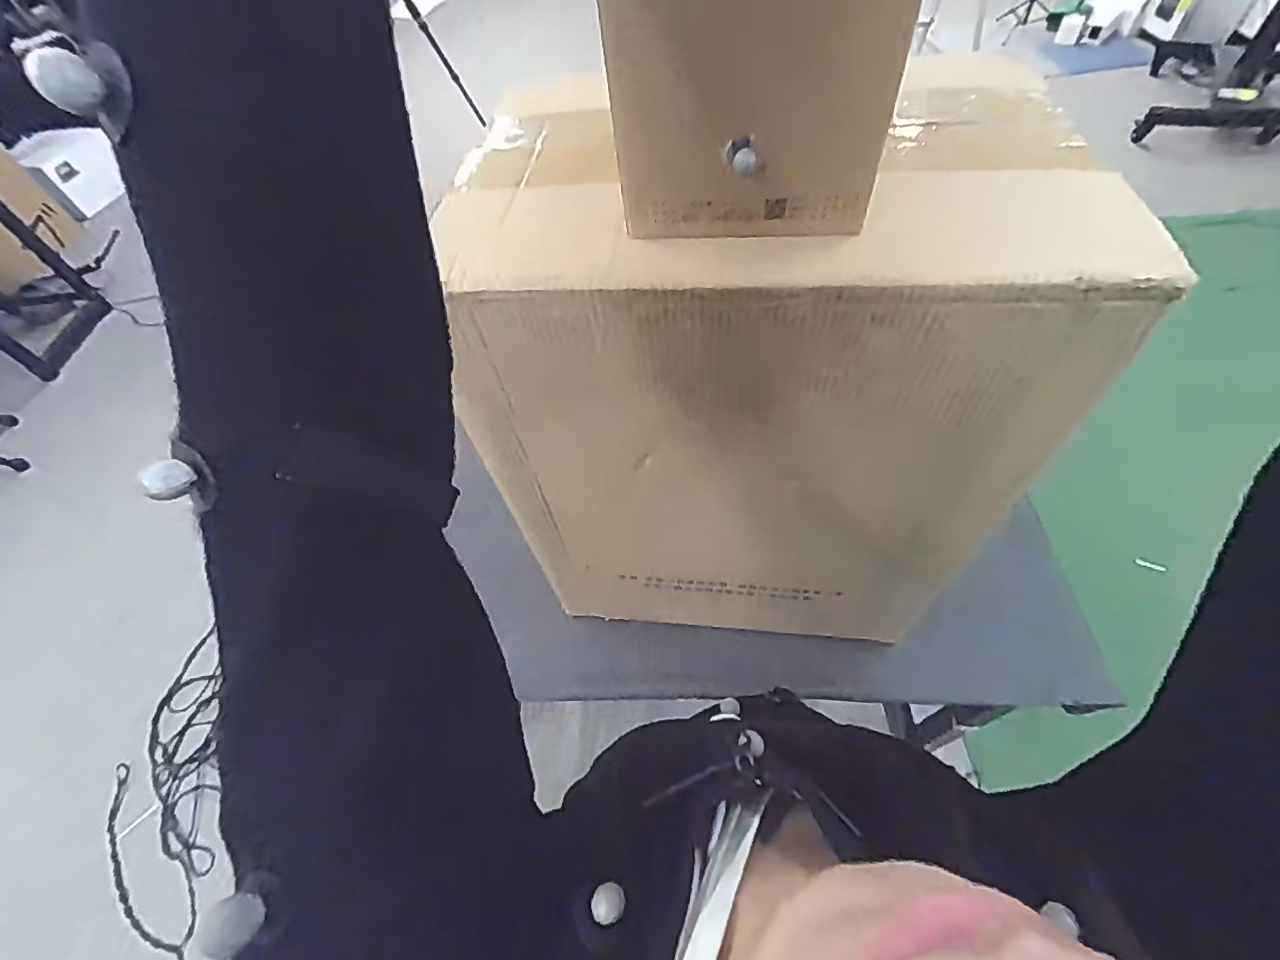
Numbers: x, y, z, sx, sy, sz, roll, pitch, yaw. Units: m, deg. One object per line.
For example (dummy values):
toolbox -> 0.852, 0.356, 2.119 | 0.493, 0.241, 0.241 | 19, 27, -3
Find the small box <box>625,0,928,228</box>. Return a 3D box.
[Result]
small box -> 0.083, -0.300, 0.370 | 0.168, 0.176, 0.179 | 3, 57, 8
